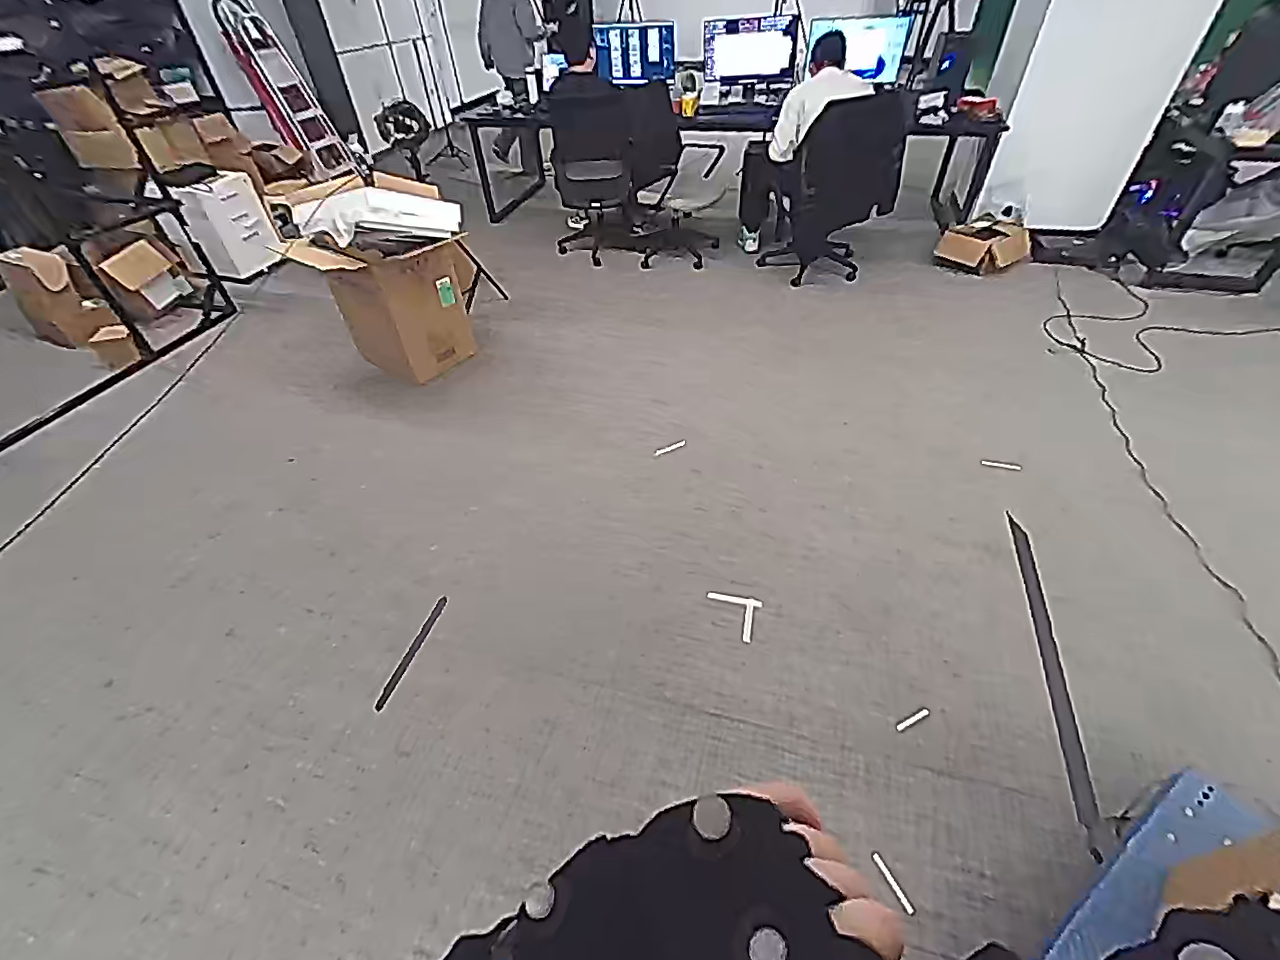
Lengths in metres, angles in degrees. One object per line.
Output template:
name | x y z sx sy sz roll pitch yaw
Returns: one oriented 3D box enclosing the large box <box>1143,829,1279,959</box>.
large box | 1.058 0.821 0.781 0.408 0.320 0.320 34 55 31
